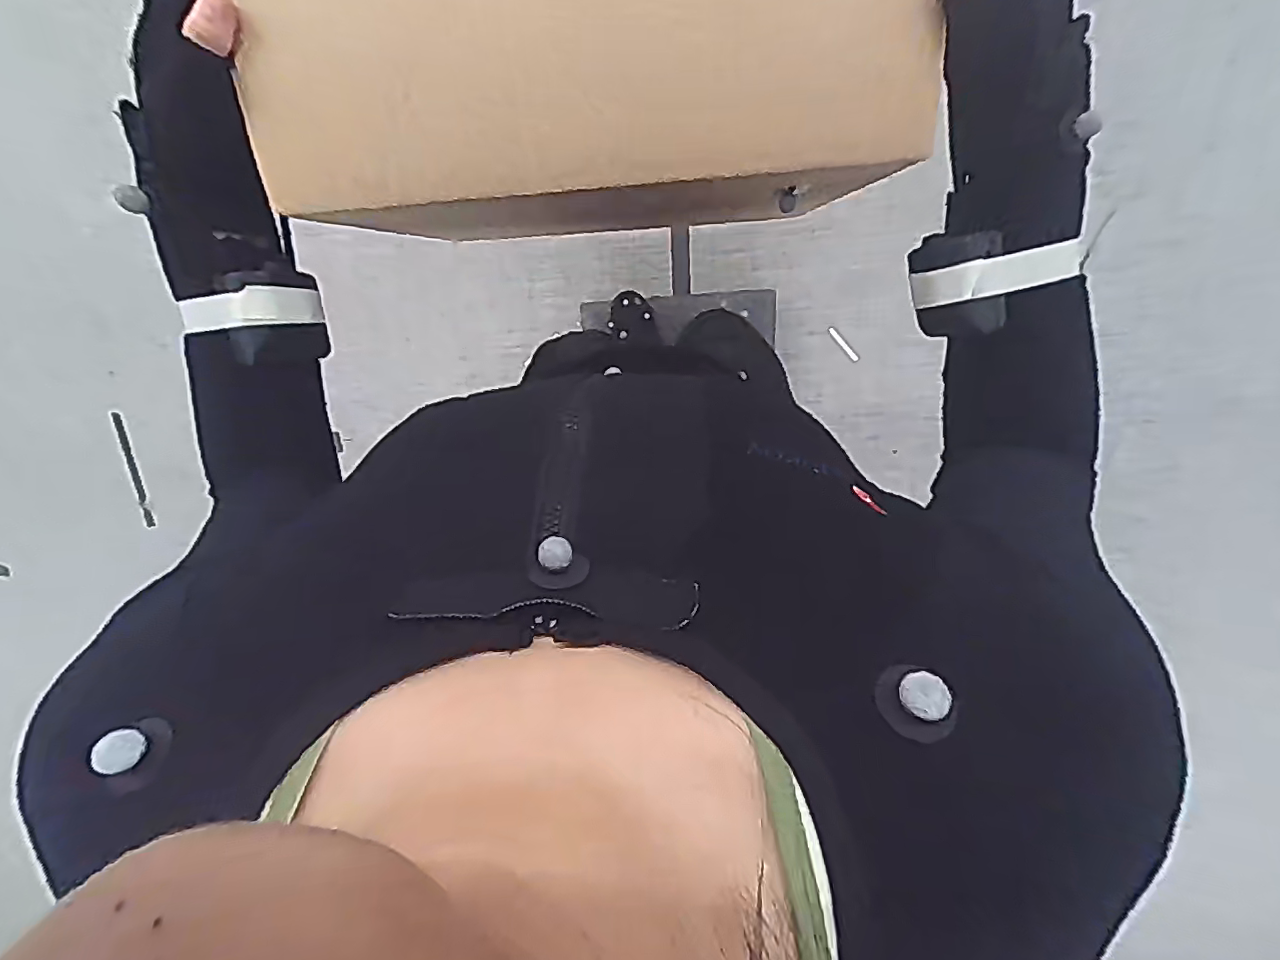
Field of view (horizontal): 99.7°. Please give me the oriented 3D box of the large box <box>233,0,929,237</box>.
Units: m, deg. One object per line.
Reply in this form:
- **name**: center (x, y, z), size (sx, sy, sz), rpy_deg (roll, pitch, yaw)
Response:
- **large box**: center (-0.033, -0.381, 0.427), size (0.408, 0.320, 0.320), rpy_deg (-3, 110, 4)
